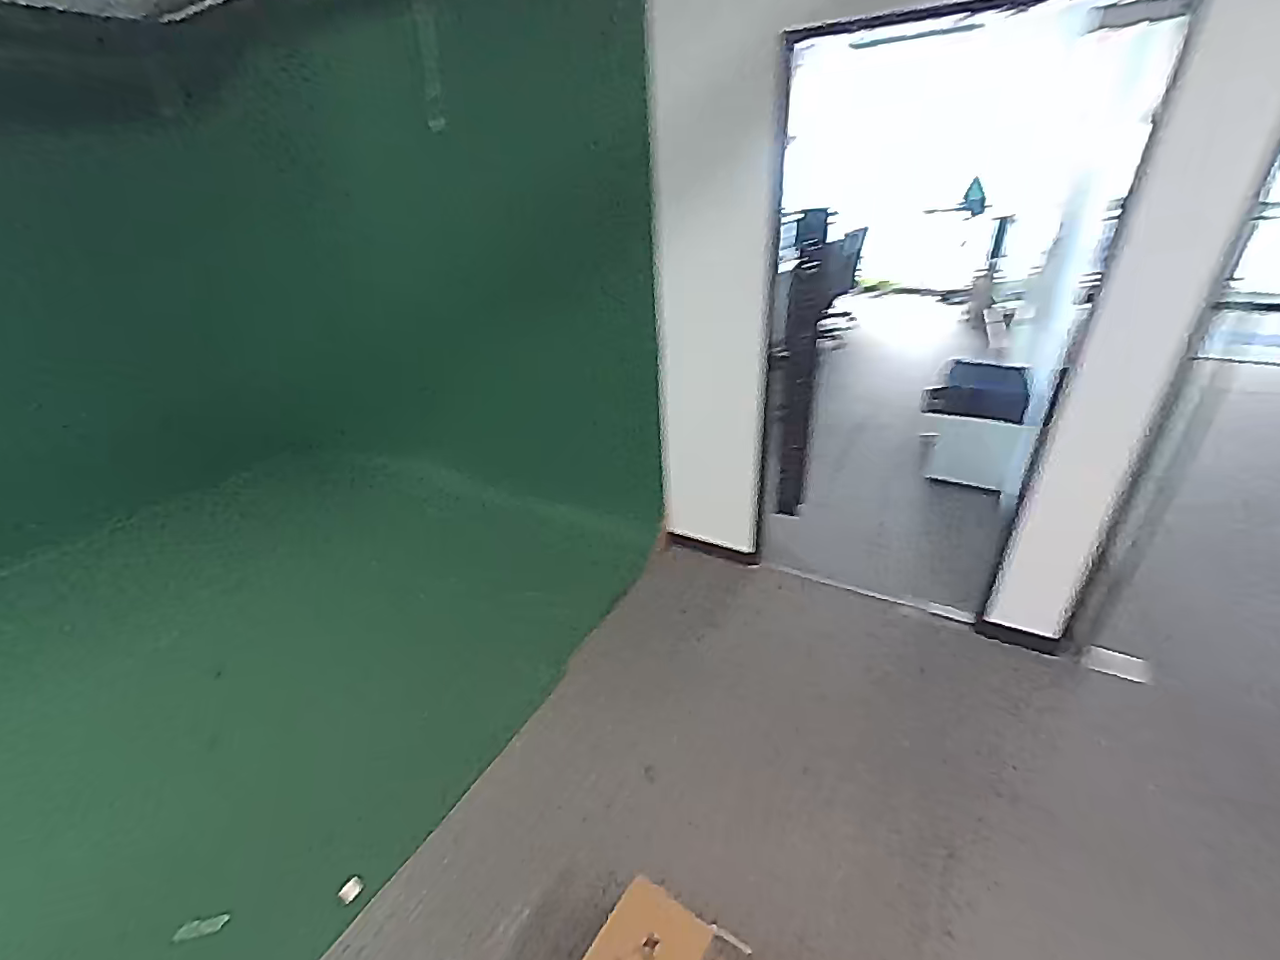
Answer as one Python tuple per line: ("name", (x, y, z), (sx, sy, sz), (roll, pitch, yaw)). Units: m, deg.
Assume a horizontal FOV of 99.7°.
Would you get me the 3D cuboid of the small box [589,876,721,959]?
("small box", (0.025, 0.868, 0.951), (0.168, 0.176, 0.179), (18, 35, 33))
